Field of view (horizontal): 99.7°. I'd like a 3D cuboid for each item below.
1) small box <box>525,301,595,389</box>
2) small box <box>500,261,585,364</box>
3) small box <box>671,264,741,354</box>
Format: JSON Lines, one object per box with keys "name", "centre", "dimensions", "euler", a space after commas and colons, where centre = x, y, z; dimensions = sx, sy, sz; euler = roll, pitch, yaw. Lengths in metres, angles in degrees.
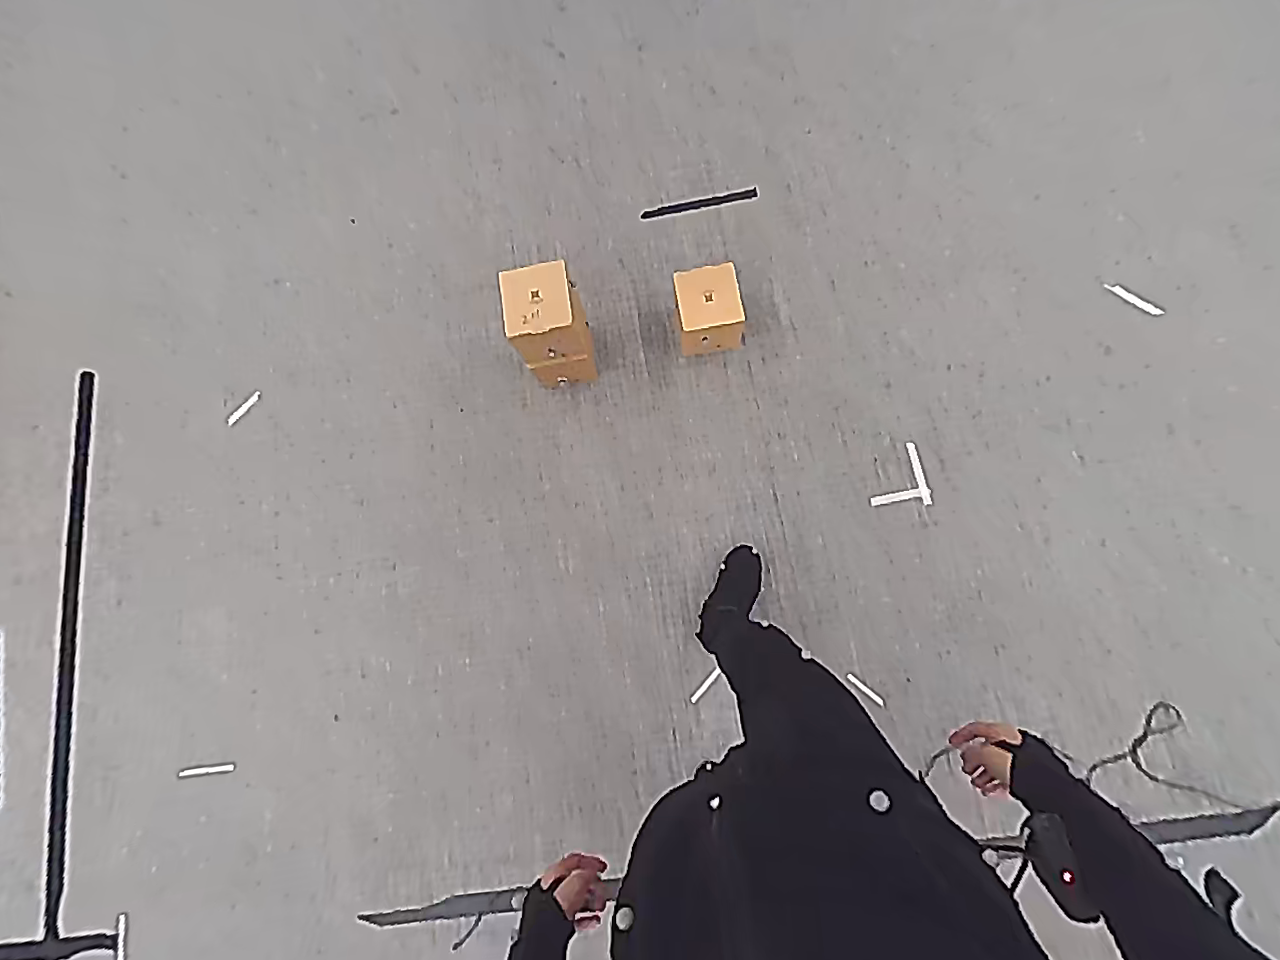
{"name": "small box", "centre": [-0.227, -0.378, 1.527], "dimensions": [0.168, 0.176, 0.179], "euler": [-9, 78, 4]}
{"name": "small box", "centre": [-0.243, -0.418, 1.369], "dimensions": [0.168, 0.176, 0.179], "euler": [-10, 78, 4]}
{"name": "small box", "centre": [0.182, -0.467, 1.512], "dimensions": [0.168, 0.176, 0.179], "euler": [-10, 77, 2]}
